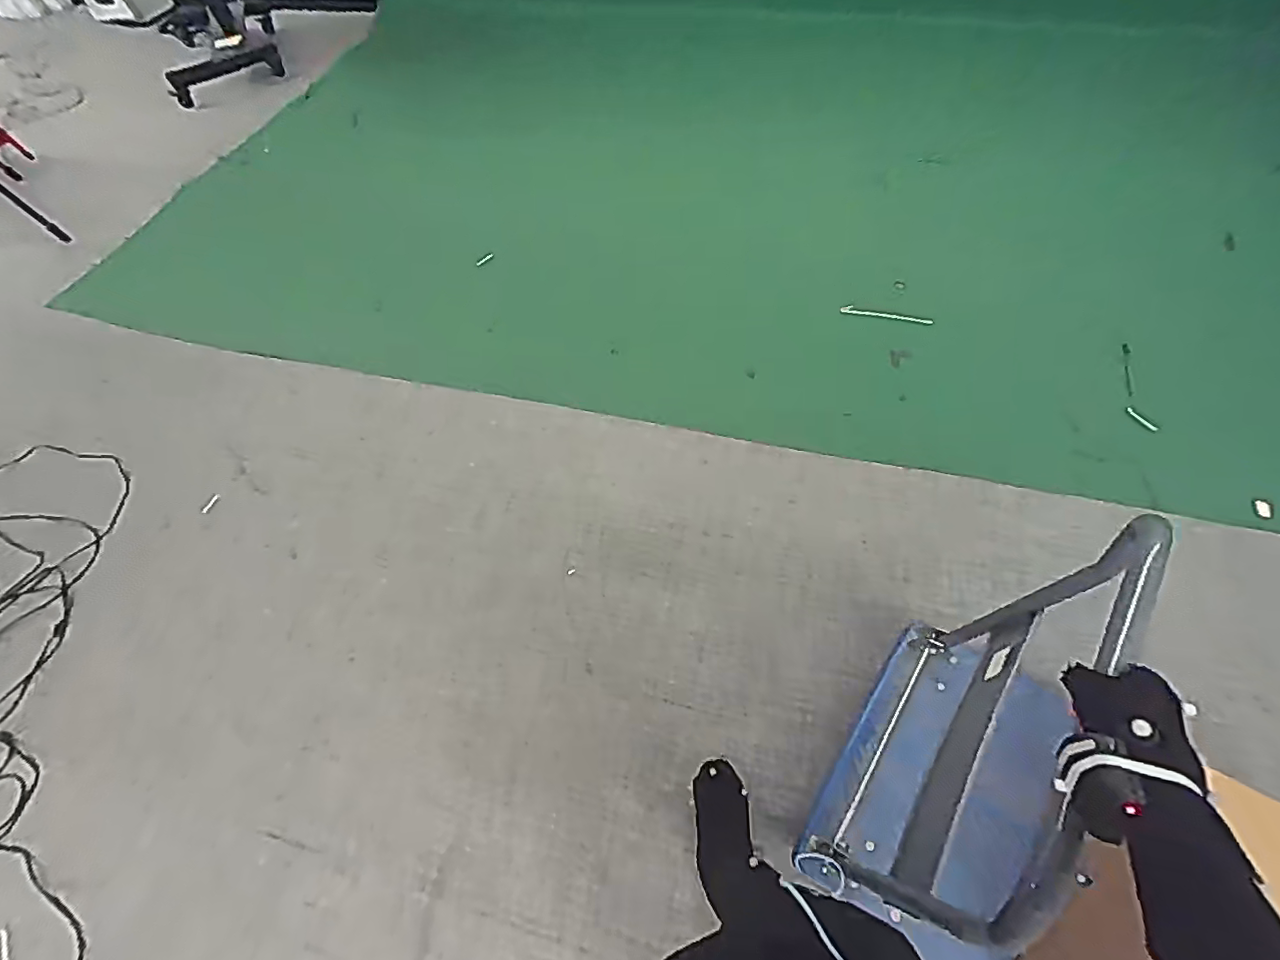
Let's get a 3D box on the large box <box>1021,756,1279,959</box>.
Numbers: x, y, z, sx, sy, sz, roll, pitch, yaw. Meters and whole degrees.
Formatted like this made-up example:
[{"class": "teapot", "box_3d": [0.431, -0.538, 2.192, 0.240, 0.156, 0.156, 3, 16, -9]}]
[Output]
[{"class": "large box", "box_3d": [0.835, 0.701, 0.800, 0.320, 0.320, 0.408, 28, 64, 19]}]
